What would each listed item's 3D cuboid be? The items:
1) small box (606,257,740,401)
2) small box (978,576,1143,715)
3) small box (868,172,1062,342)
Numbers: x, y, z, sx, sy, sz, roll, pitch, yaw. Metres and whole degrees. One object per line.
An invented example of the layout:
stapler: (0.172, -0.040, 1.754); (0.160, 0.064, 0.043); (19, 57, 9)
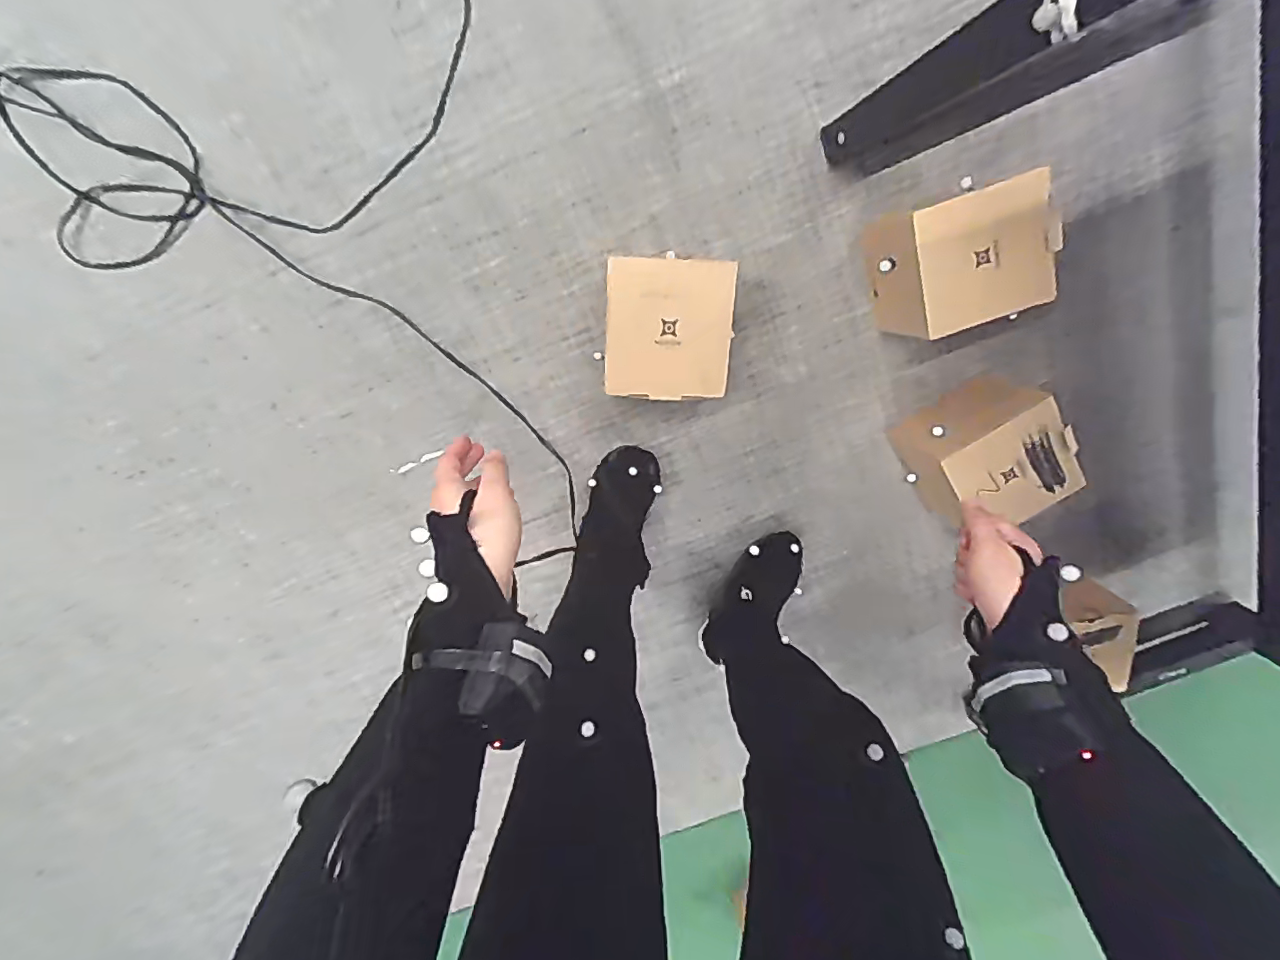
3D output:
small box: (0.036, -0.217, 0.774); (0.168, 0.176, 0.179); (1, 108, -5)
small box: (0.752, 0.290, 0.989); (0.168, 0.176, 0.179); (-10, 111, 1)
small box: (0.444, -0.304, 0.765); (0.179, 0.176, 0.168); (-18, 109, 3)
